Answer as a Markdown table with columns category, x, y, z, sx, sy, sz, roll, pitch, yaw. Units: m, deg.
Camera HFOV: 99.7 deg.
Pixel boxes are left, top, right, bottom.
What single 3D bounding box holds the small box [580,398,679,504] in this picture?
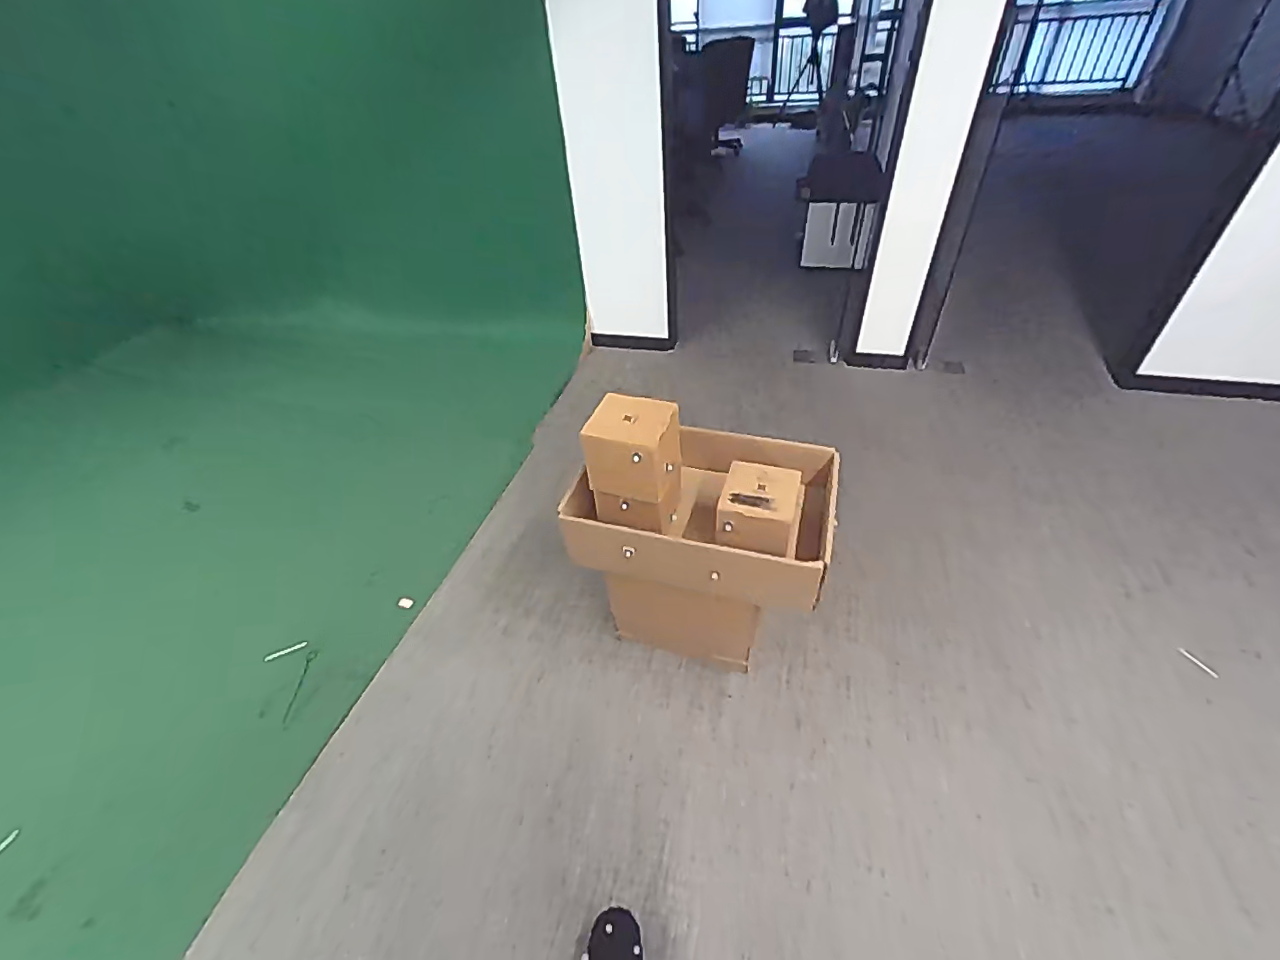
| category | x | y | z | sx | sy | sz | roll | pitch | yaw |
| --- | --- | --- | --- | --- | --- | --- | --- | --- | --- |
| small box | -0.016 | -0.065 | 1.244 | 0.179 | 0.176 | 0.168 | 12 | 45 | 17 |

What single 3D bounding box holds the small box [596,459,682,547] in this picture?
| category | x | y | z | sx | sy | sz | roll | pitch | yaw |
| --- | --- | --- | --- | --- | --- | --- | --- | --- | --- |
| small box | 0.001 | 0.046 | 1.363 | 0.179 | 0.176 | 0.168 | 12 | 45 | 16 |
